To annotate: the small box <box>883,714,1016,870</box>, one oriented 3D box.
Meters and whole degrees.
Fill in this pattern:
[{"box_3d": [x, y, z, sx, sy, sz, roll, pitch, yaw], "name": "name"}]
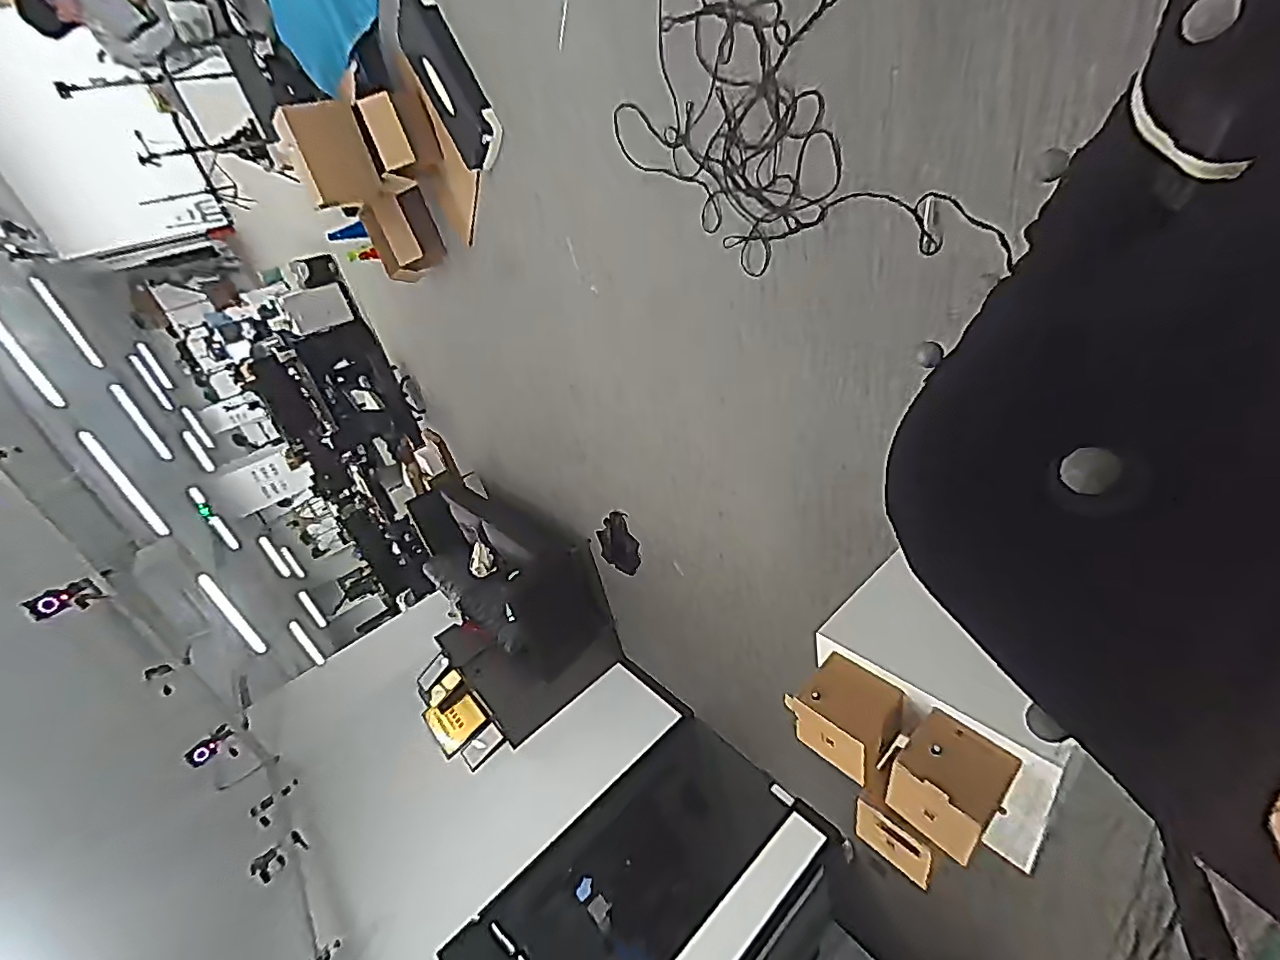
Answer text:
[{"box_3d": [0.612, 0.609, 1.073, 0.168, 0.176, 0.179, 29, 142, 44], "name": "small box"}]
